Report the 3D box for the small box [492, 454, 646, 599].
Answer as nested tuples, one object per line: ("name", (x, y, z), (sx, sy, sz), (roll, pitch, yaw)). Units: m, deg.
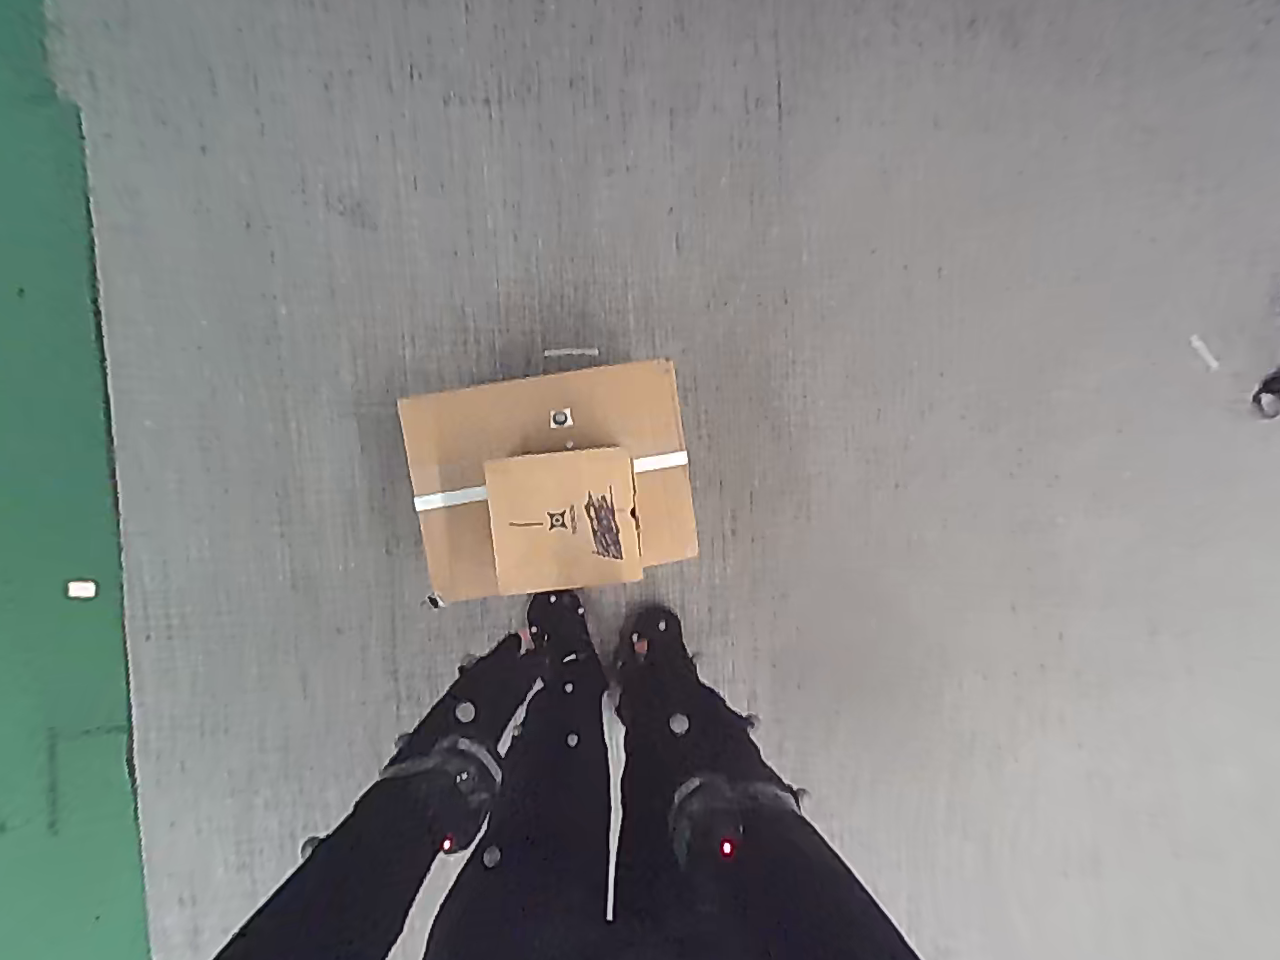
("small box", (-0.092, 0.053, 0.737), (0.179, 0.176, 0.168), (-6, 93, -4))
